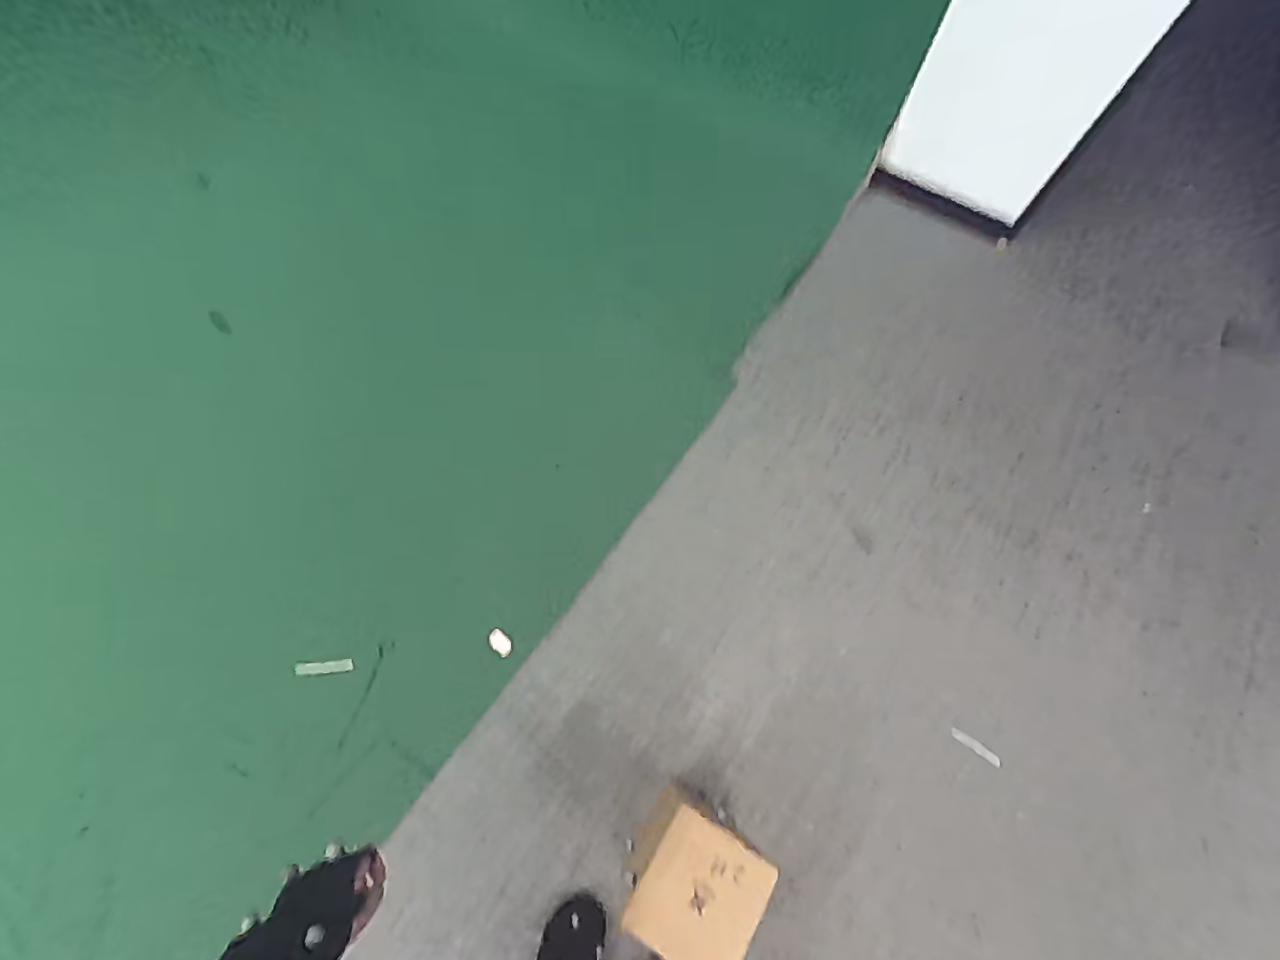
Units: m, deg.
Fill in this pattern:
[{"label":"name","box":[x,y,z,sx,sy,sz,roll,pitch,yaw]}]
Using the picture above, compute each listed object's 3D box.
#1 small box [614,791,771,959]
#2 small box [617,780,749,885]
[{"label":"small box","box":[0.076,0.623,0.842,0.168,0.176,0.179,32,70,10]},{"label":"small box","box":[0.075,0.687,0.994,0.168,0.176,0.179,33,69,11]}]
